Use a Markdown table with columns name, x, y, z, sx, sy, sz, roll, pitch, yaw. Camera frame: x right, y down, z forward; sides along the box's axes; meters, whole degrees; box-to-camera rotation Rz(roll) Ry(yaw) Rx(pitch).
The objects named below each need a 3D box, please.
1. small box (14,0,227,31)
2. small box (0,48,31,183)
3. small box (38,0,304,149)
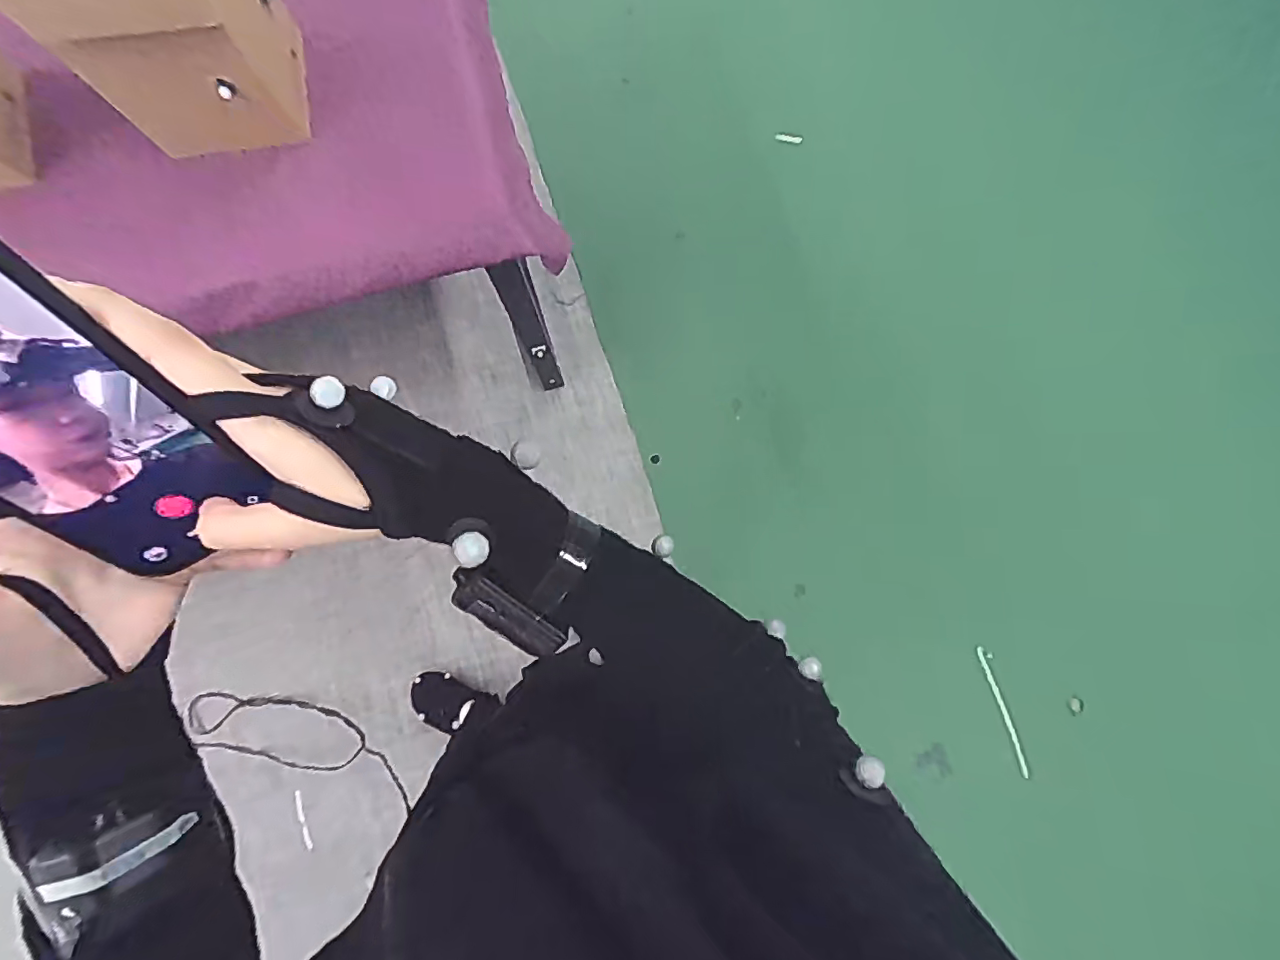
| name | x | y | z | sx | sy | sz | roll | pitch | yaw |
| --- | --- | --- | --- | --- | --- | --- | --- | --- | --- |
| small box | -0.499 | -0.528 | 0.457 | 0.179 | 0.176 | 0.168 | -8 | 82 | -3 |
| small box | -0.847 | -0.448 | 0.602 | 0.179 | 0.176 | 0.168 | -14 | 83 | -3 |
| small box | -0.515 | -0.518 | 0.621 | 0.179 | 0.176 | 0.168 | -8 | 82 | -2 |
